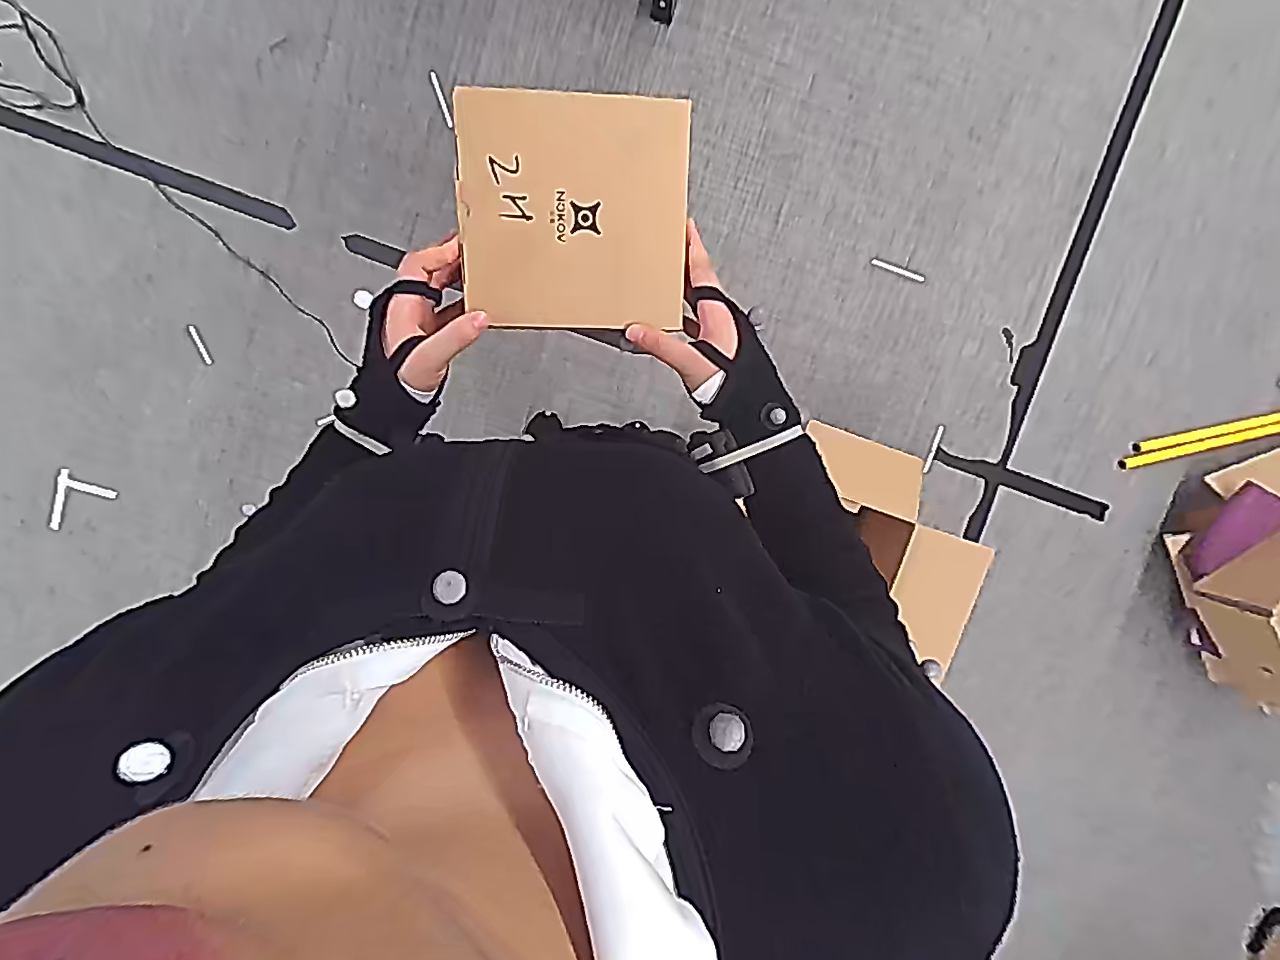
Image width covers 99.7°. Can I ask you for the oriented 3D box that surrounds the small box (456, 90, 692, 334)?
[{"bbox_3d":[-0.056,-0.222,0.493,0.179,0.176,0.168,0,104,-4],"label":"small box"}]
